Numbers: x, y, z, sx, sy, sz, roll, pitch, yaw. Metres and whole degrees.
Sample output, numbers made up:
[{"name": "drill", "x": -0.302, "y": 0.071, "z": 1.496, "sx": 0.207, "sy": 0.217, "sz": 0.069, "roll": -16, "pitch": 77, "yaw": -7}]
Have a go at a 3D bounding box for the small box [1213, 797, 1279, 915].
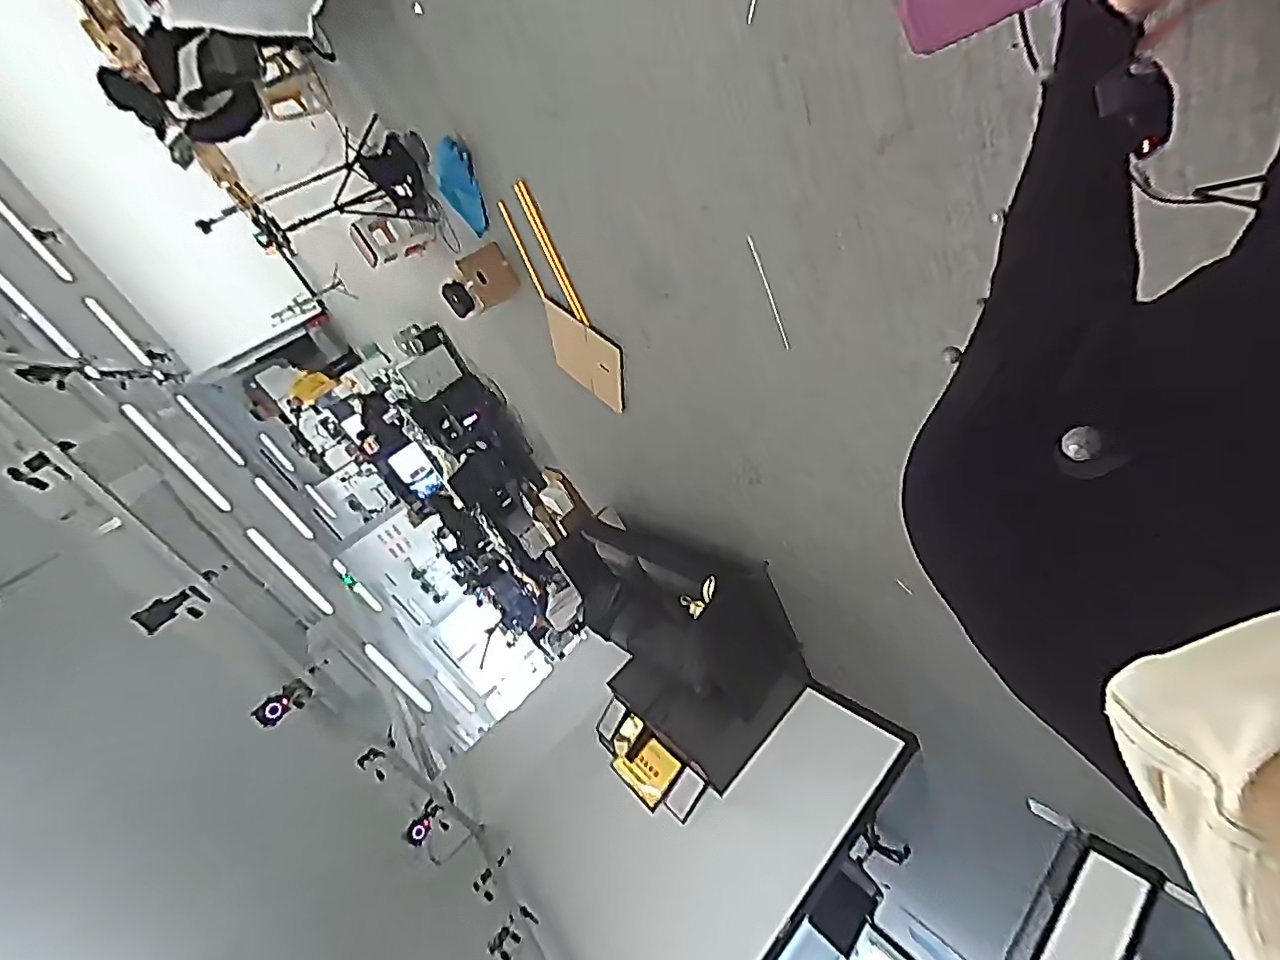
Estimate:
[{"name": "small box", "x": 1.495, "y": 0.888, "z": 1.261, "sx": 0.168, "sy": 0.176, "sz": 0.179, "roll": 23, "pitch": 146, "yaw": 49}]
